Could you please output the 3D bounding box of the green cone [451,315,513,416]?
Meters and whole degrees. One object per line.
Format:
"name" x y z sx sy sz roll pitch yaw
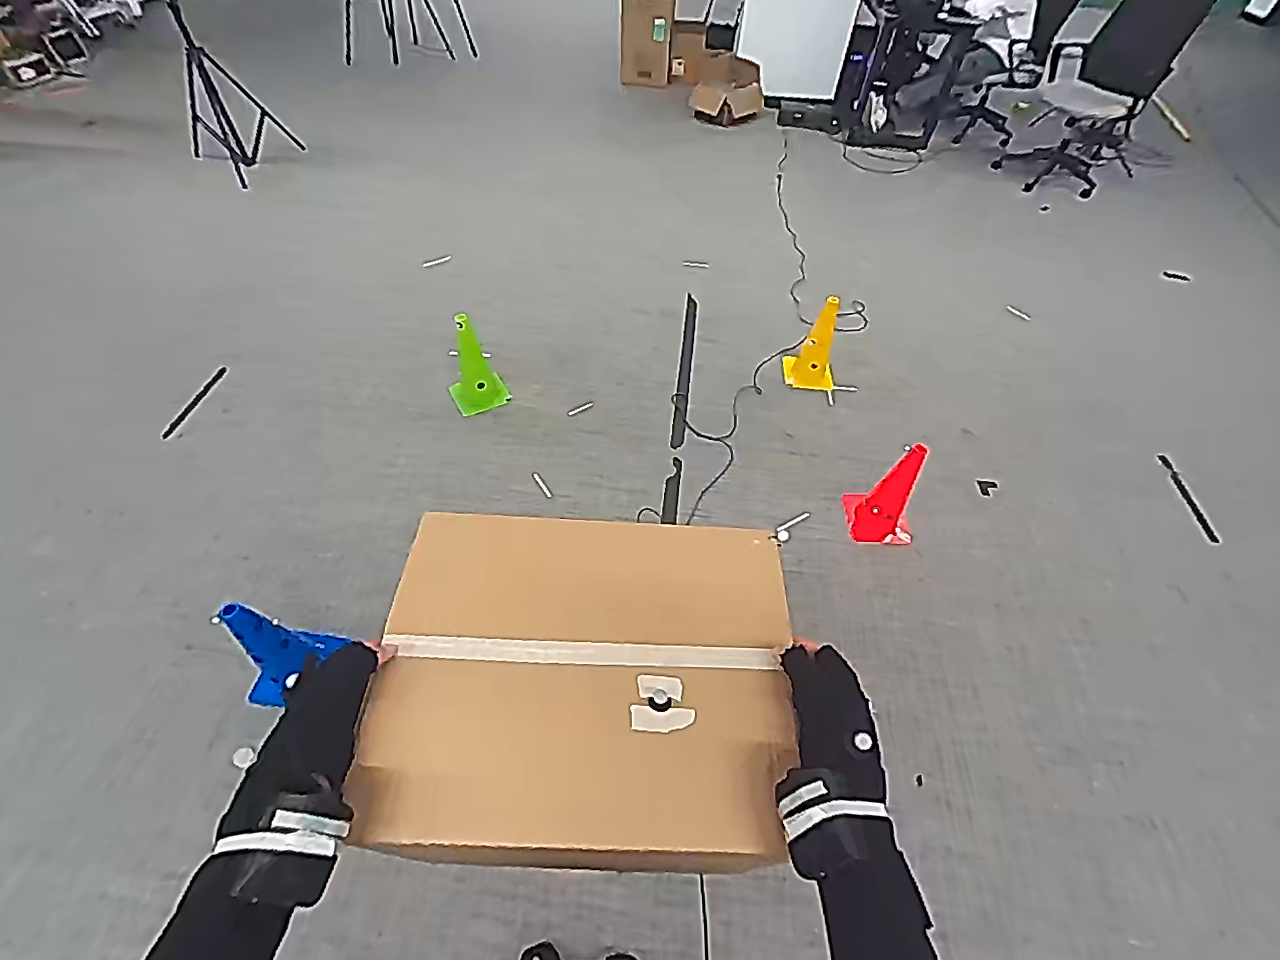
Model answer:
"green cone" -0.624 -0.450 2.009 0.202 0.368 0.200 -25 55 -19

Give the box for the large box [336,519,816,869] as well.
"large box" -0.058 0.266 0.649 0.408 0.320 0.320 4 52 -2

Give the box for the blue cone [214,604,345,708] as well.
"blue cone" -0.904 0.404 1.321 0.192 0.380 0.193 8 51 5

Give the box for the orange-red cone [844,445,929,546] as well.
"orange-red cone" 0.804 0.022 1.692 0.198 0.360 0.199 5 49 0
